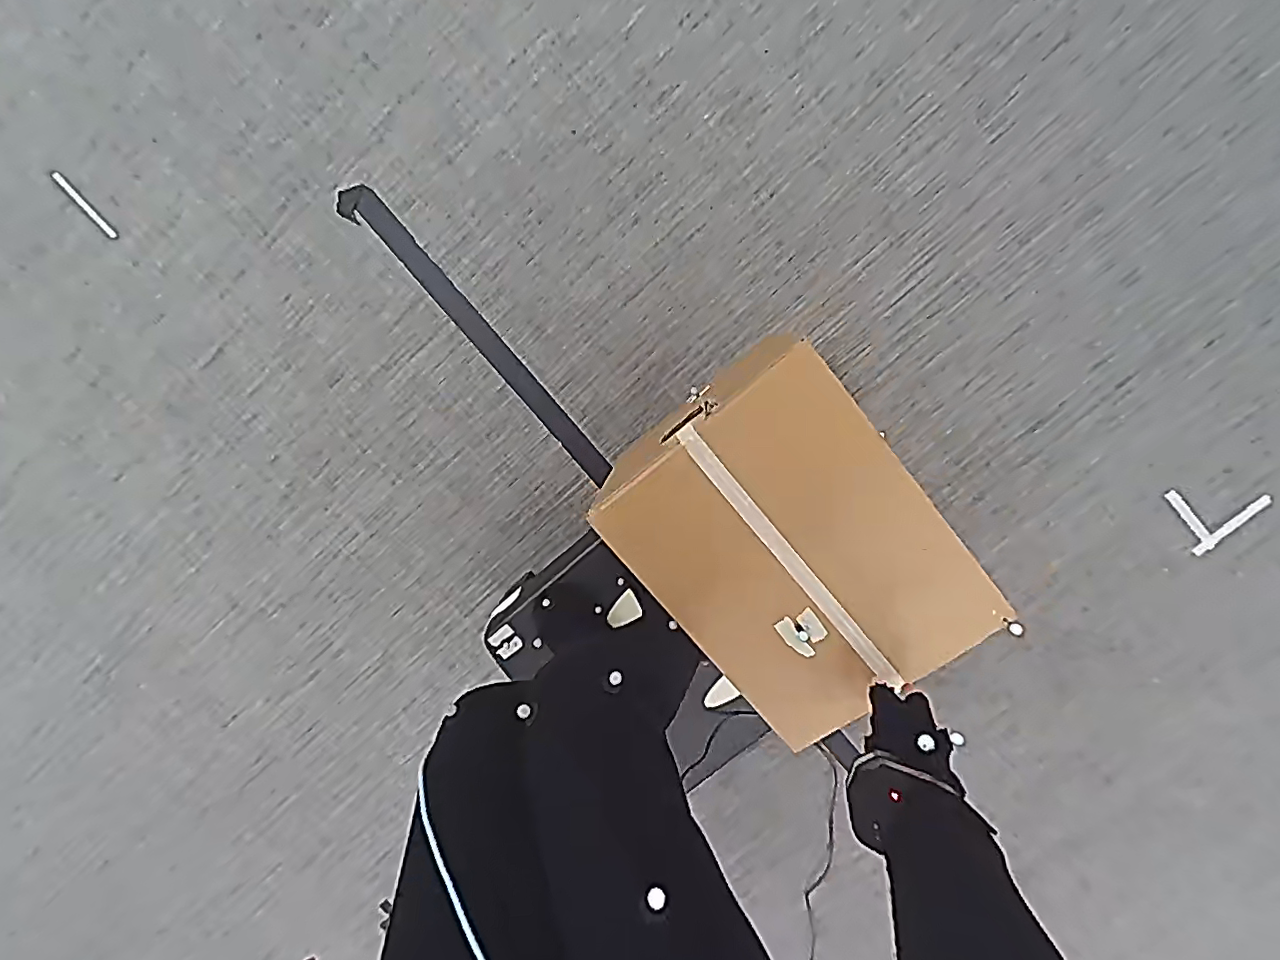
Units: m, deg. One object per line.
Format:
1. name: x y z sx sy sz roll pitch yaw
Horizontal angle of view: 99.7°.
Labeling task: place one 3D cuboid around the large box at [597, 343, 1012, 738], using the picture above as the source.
1. large box: 0.200 0.057 0.775 0.320 0.320 0.408 -39 99 15
